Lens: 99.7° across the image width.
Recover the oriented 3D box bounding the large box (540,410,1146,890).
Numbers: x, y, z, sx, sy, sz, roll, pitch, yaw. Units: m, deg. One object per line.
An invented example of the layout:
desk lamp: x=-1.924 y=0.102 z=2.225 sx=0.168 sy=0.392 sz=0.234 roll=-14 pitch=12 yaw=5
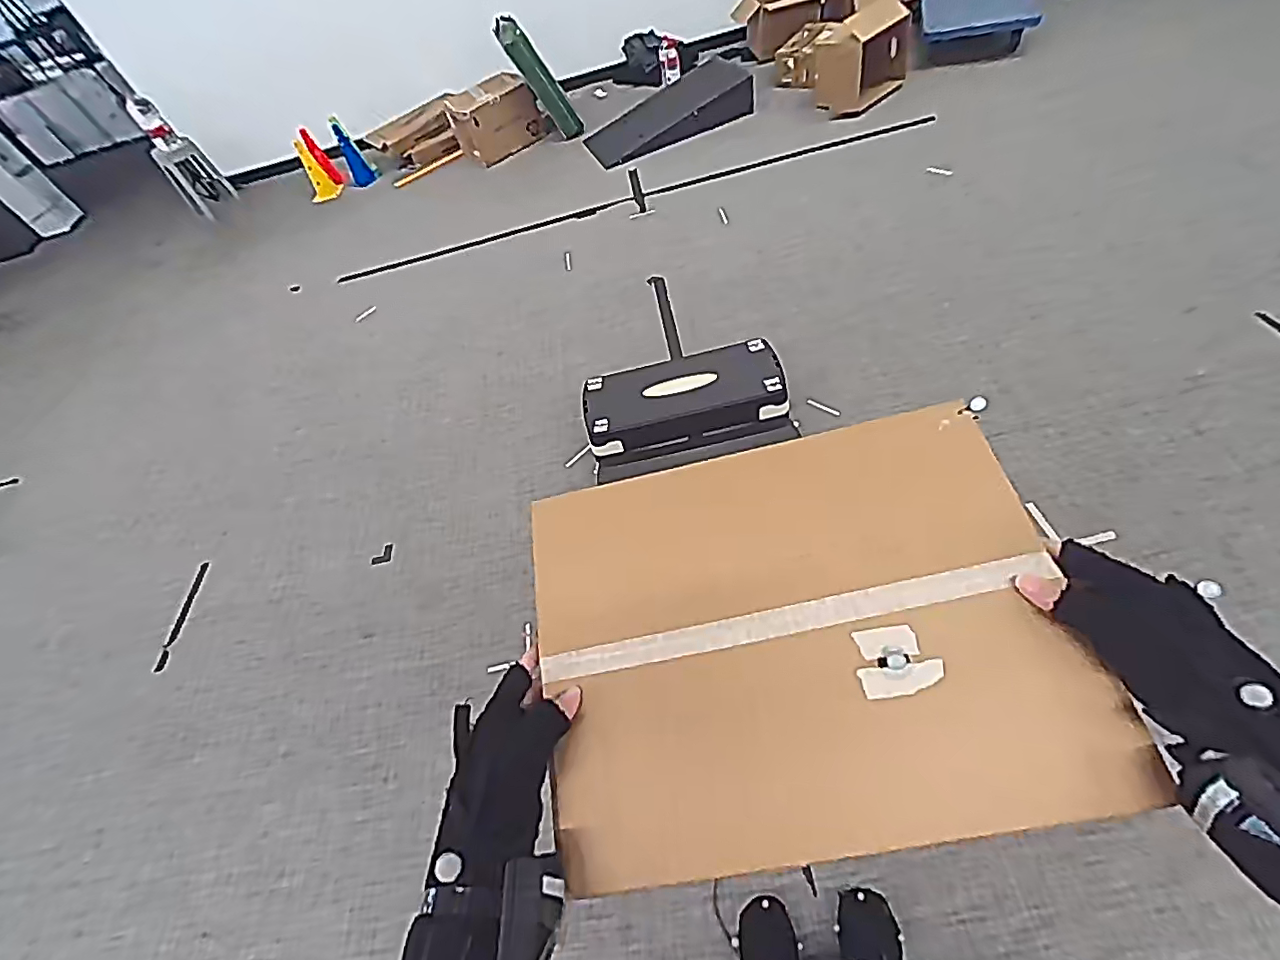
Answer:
large box: x=0.145 y=0.181 z=0.571 sx=0.408 sy=0.320 sz=0.320 roll=-14 pitch=62 yaw=6

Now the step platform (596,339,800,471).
step platform: x=0.189 y=-0.261 z=1.860 sx=0.684 sy=0.204 sz=0.286 roll=-13 pitch=52 yaw=4
